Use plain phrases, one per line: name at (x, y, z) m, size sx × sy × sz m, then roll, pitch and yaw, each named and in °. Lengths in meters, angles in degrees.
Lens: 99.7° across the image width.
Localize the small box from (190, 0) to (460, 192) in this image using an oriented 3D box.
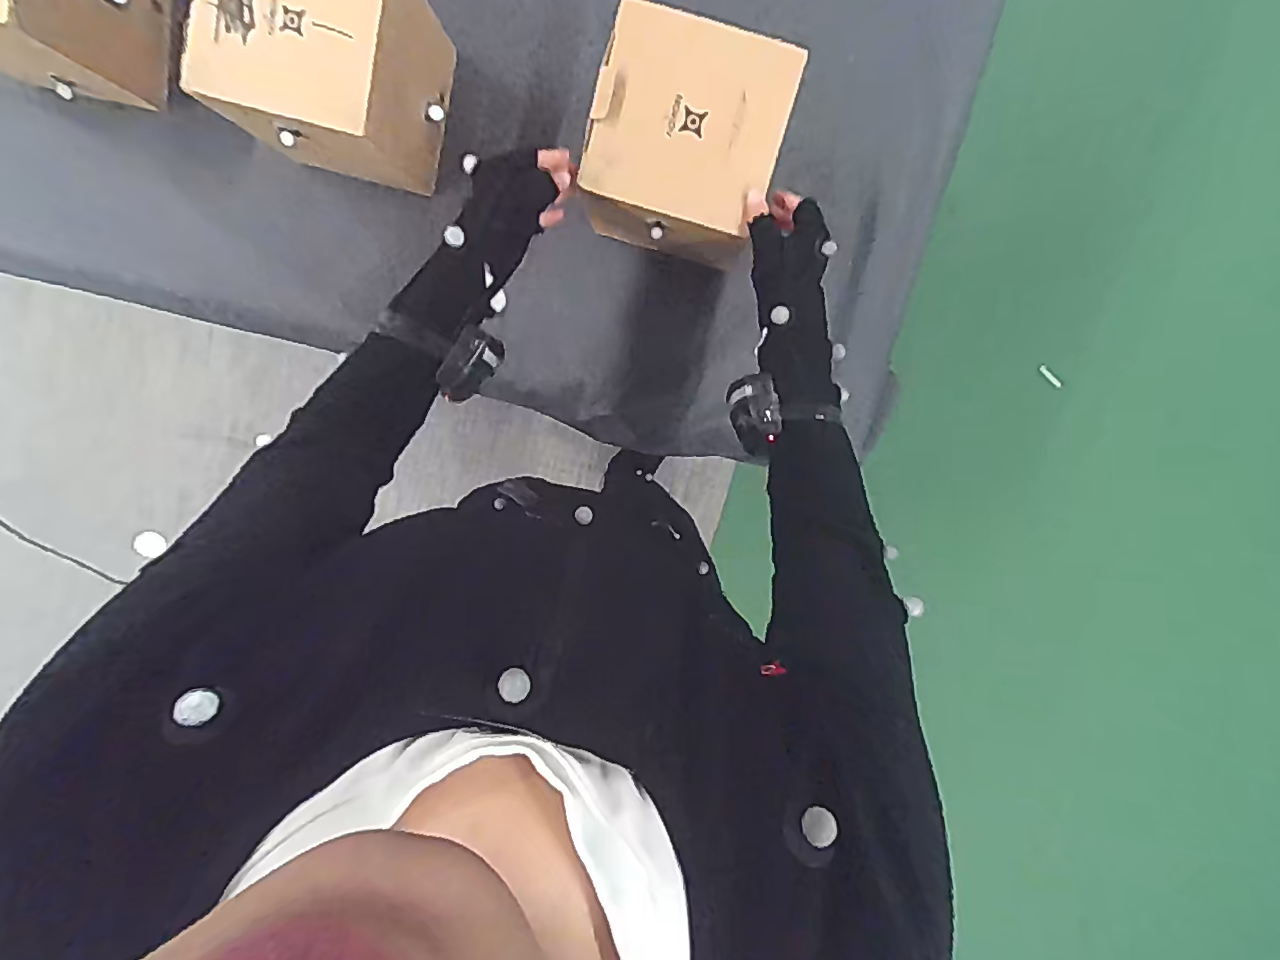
small box at (-0.316, -0.431, 0.572) m, size 0.179 × 0.176 × 0.168 m, roll 14°, pitch 100°, yaw -1°

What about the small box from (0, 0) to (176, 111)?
small box at (-0.637, -0.523, 0.565) m, size 0.179 × 0.176 × 0.168 m, roll 11°, pitch 100°, yaw -1°

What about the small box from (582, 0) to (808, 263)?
small box at (0.050, -0.346, 0.578) m, size 0.179 × 0.176 × 0.168 m, roll 15°, pitch 102°, yaw -2°
